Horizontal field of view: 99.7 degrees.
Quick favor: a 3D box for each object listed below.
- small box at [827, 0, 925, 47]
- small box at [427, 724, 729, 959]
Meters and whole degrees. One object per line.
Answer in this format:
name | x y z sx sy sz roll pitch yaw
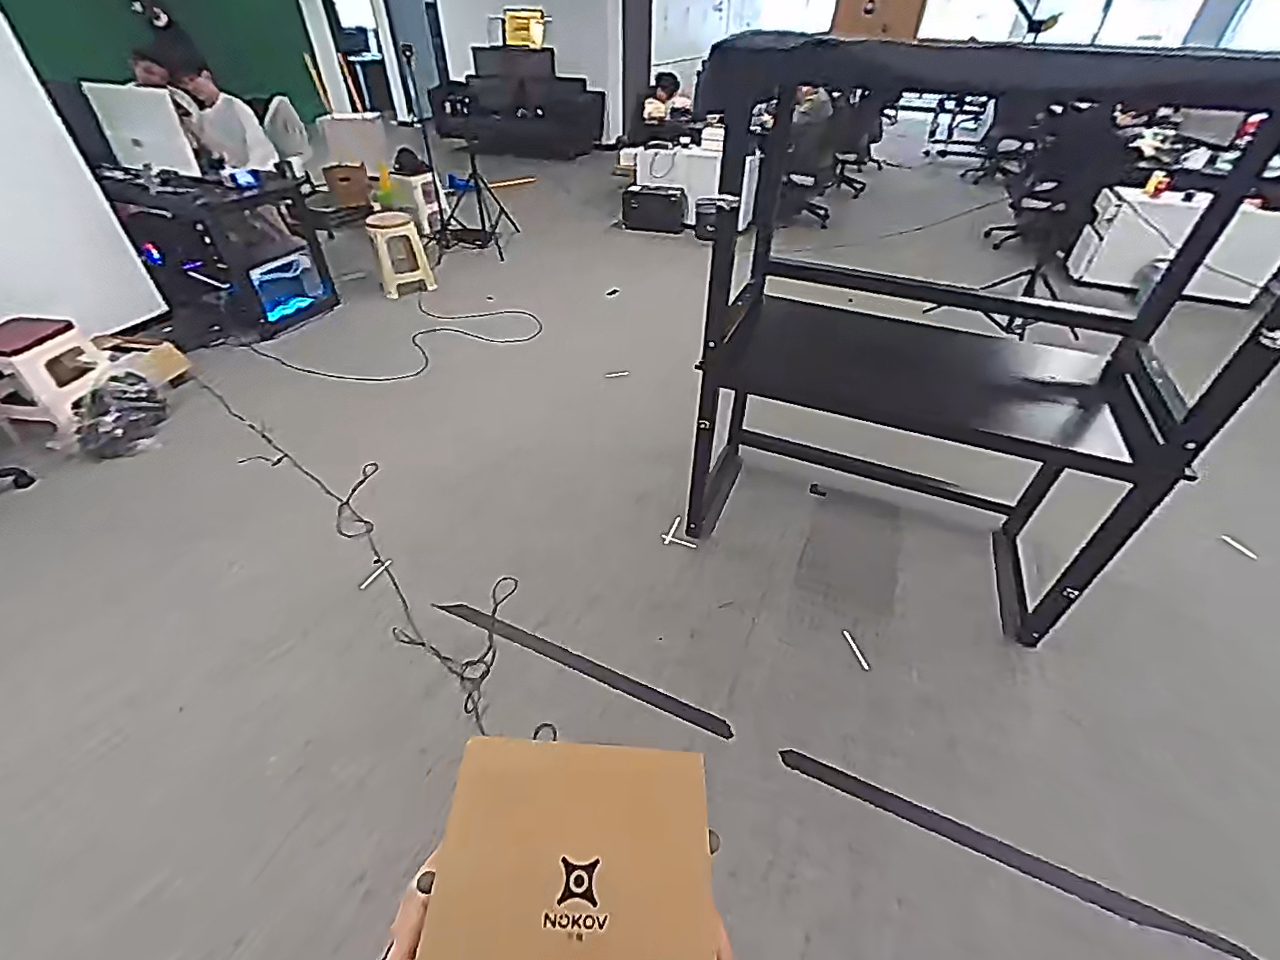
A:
small box | 0.476 -0.965 1.057 0.168 0.176 0.179 17 42 16
small box | -0.042 0.294 0.368 0.168 0.176 0.179 7 44 -5
